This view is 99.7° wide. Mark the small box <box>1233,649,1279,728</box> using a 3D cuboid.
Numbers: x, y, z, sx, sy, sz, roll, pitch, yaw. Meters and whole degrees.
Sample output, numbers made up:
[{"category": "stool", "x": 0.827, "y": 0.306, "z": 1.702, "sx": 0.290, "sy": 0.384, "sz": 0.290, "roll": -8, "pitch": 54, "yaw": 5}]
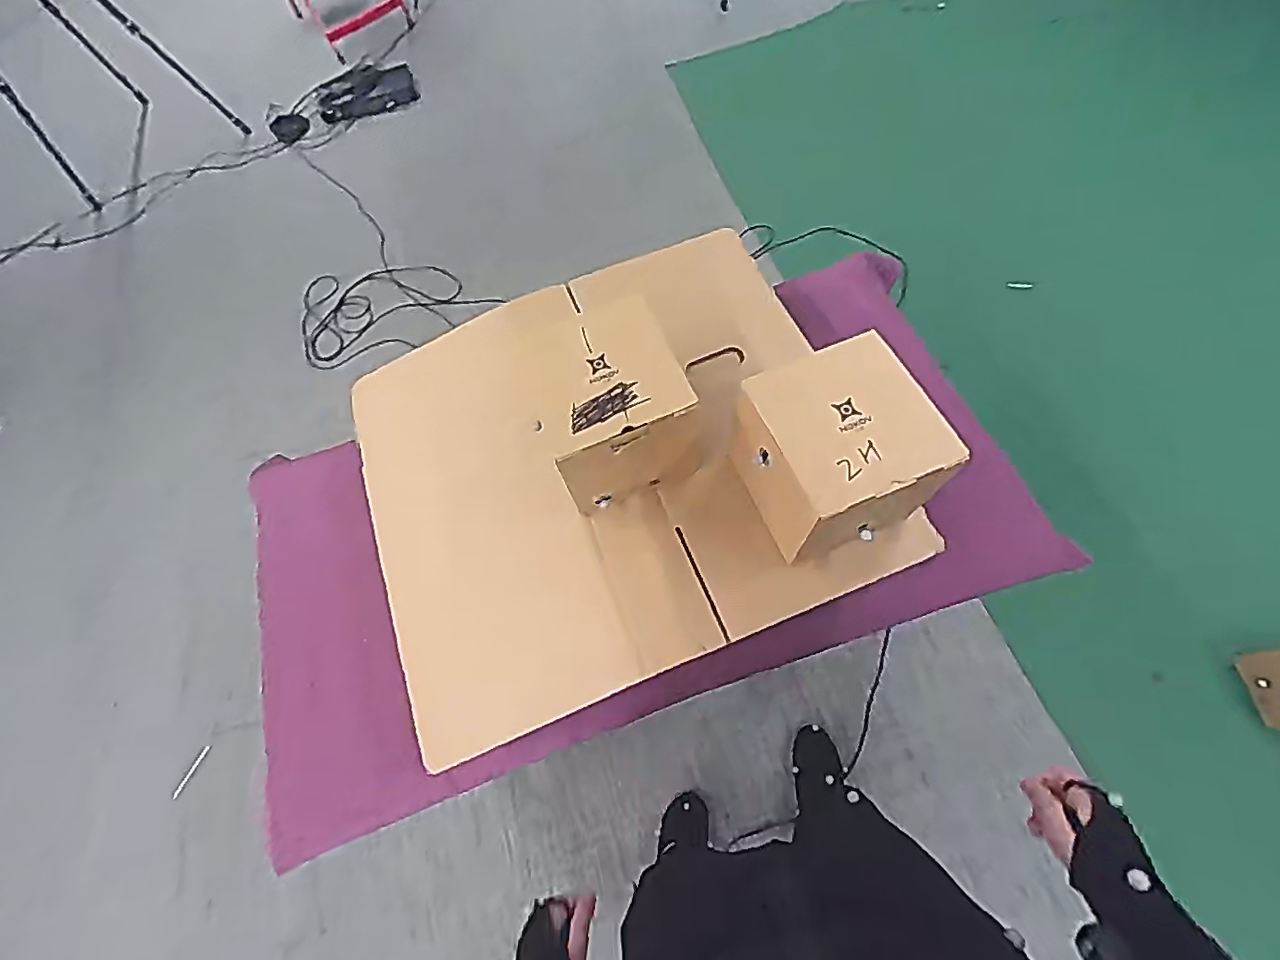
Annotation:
[{"category": "small box", "x": 1.527, "y": 0.465, "z": 1.214, "sx": 0.179, "sy": 0.176, "sz": 0.168, "roll": -6, "pitch": 66, "yaw": 6}]

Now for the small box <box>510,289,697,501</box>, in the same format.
[{"category": "small box", "x": -0.037, "y": -0.092, "z": 0.665, "sx": 0.168, "sy": 0.176, "sz": 0.179, "roll": -22, "pitch": 65, "yaw": -6}]
